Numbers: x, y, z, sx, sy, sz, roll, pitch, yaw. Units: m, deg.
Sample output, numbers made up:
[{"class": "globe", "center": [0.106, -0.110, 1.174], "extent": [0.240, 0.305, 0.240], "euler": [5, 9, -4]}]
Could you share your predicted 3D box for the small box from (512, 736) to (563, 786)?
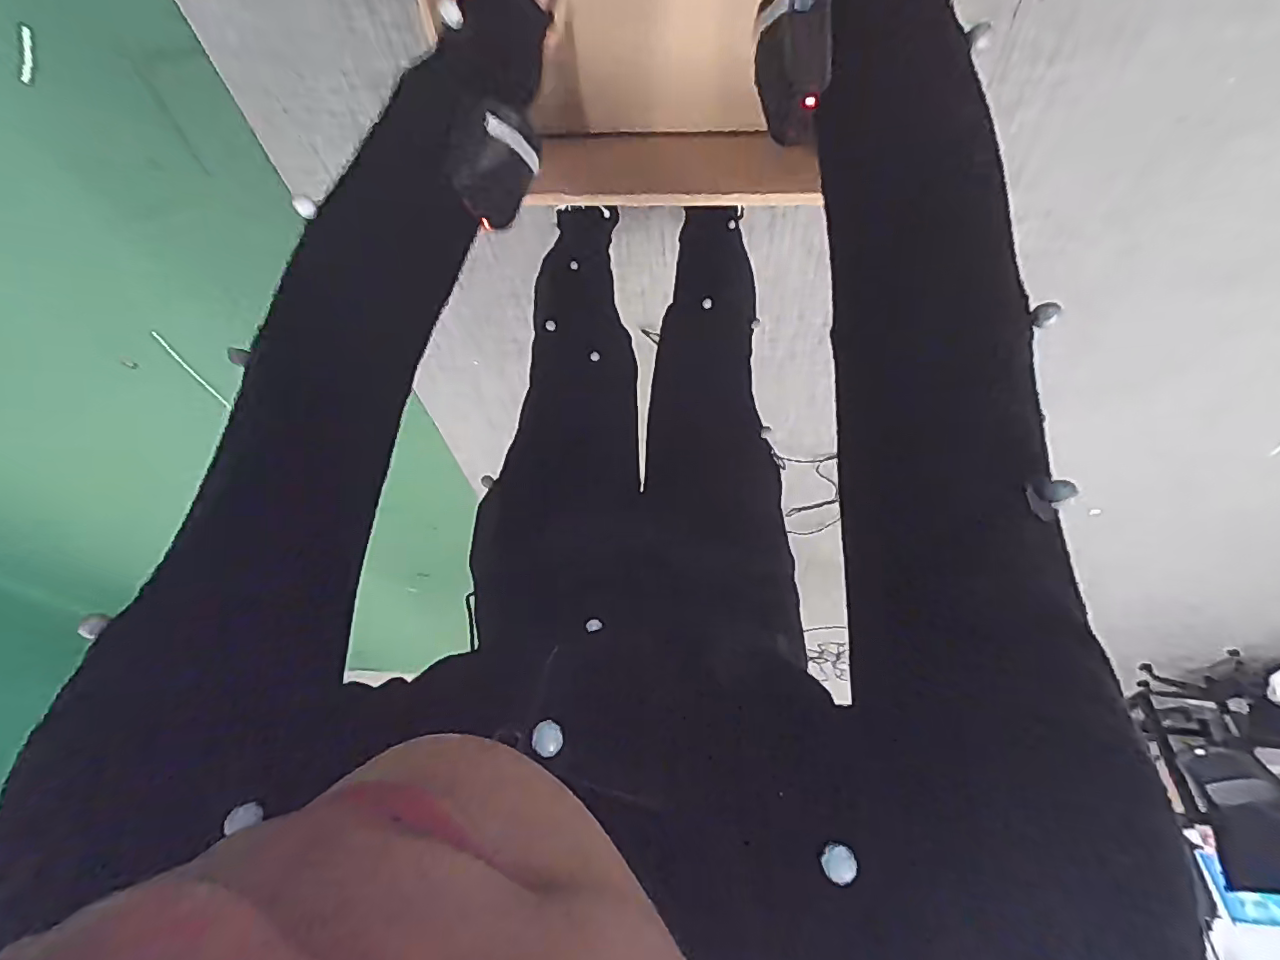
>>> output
[{"class": "small box", "center": [-0.425, 1.175, 2.270], "extent": [0.168, 0.176, 0.179], "euler": [2, 145, 3]}]

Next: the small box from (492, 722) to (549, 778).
[{"class": "small box", "center": [-0.445, 1.020, 2.042], "extent": [0.168, 0.176, 0.179], "euler": [2, 147, 3]}]
